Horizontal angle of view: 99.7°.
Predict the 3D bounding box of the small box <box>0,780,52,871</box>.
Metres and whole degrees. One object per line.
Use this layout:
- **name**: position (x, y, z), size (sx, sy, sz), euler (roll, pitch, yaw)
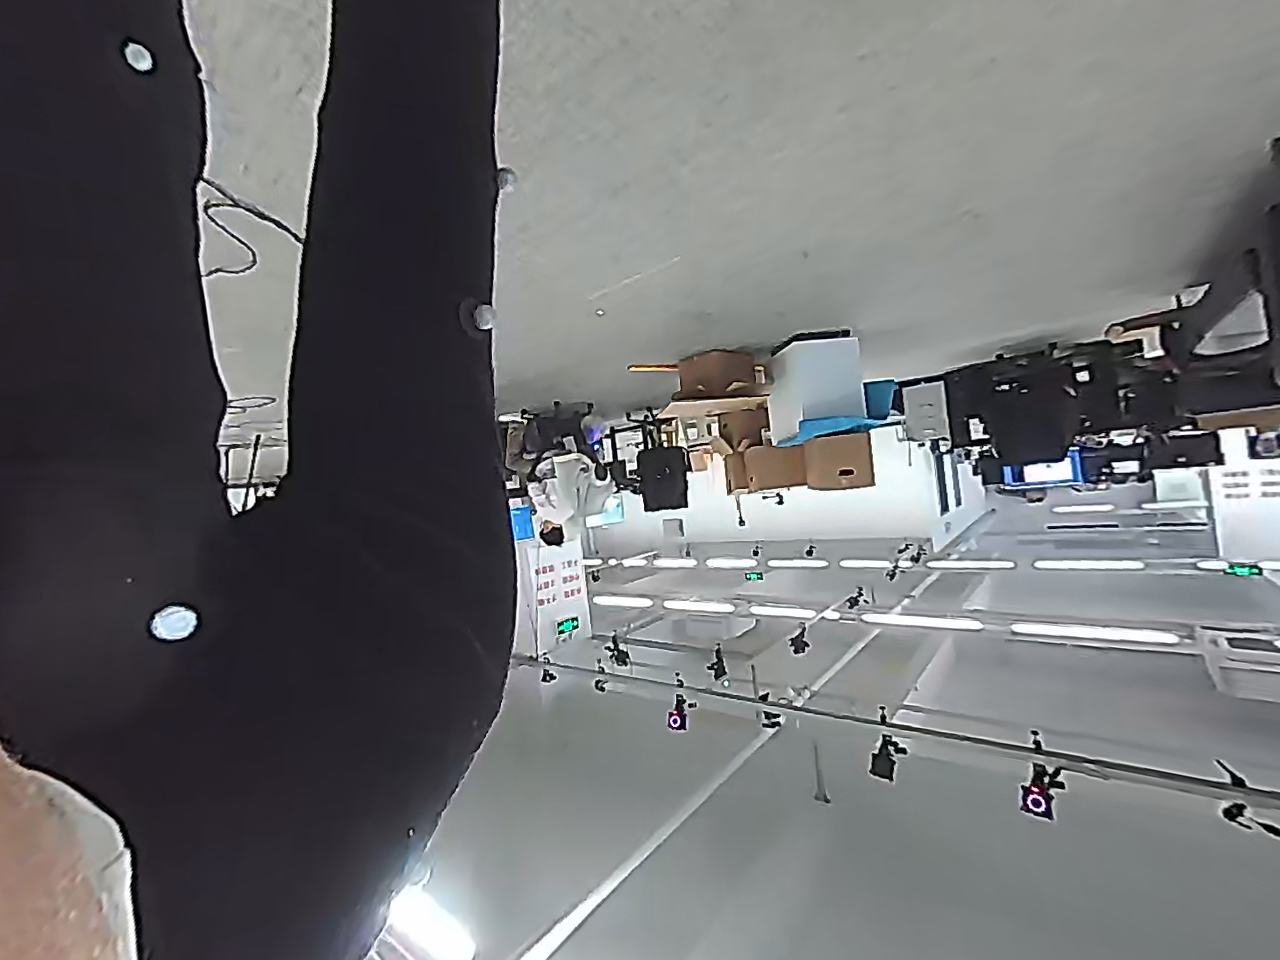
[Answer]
- **small box**: position (-1.801, 0.986, 1.534), size (0.179, 0.176, 0.168), euler (-6, 180, 41)
